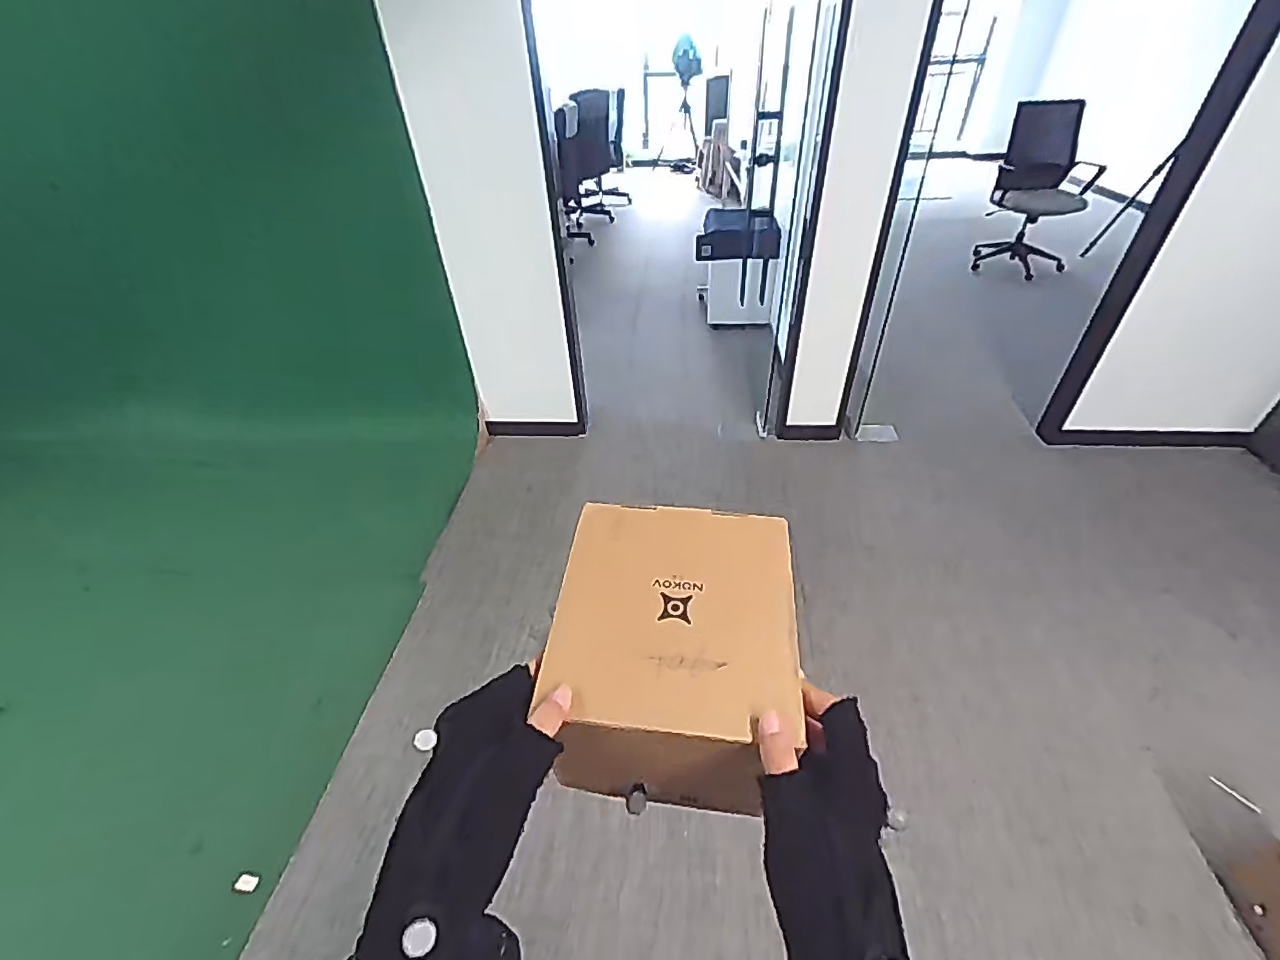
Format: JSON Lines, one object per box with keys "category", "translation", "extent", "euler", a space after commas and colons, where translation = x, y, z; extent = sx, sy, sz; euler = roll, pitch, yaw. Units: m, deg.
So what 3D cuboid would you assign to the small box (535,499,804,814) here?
{"category": "small box", "translation": [0.026, 0.141, 0.434], "extent": [0.168, 0.176, 0.179], "euler": [6, 49, 5]}
